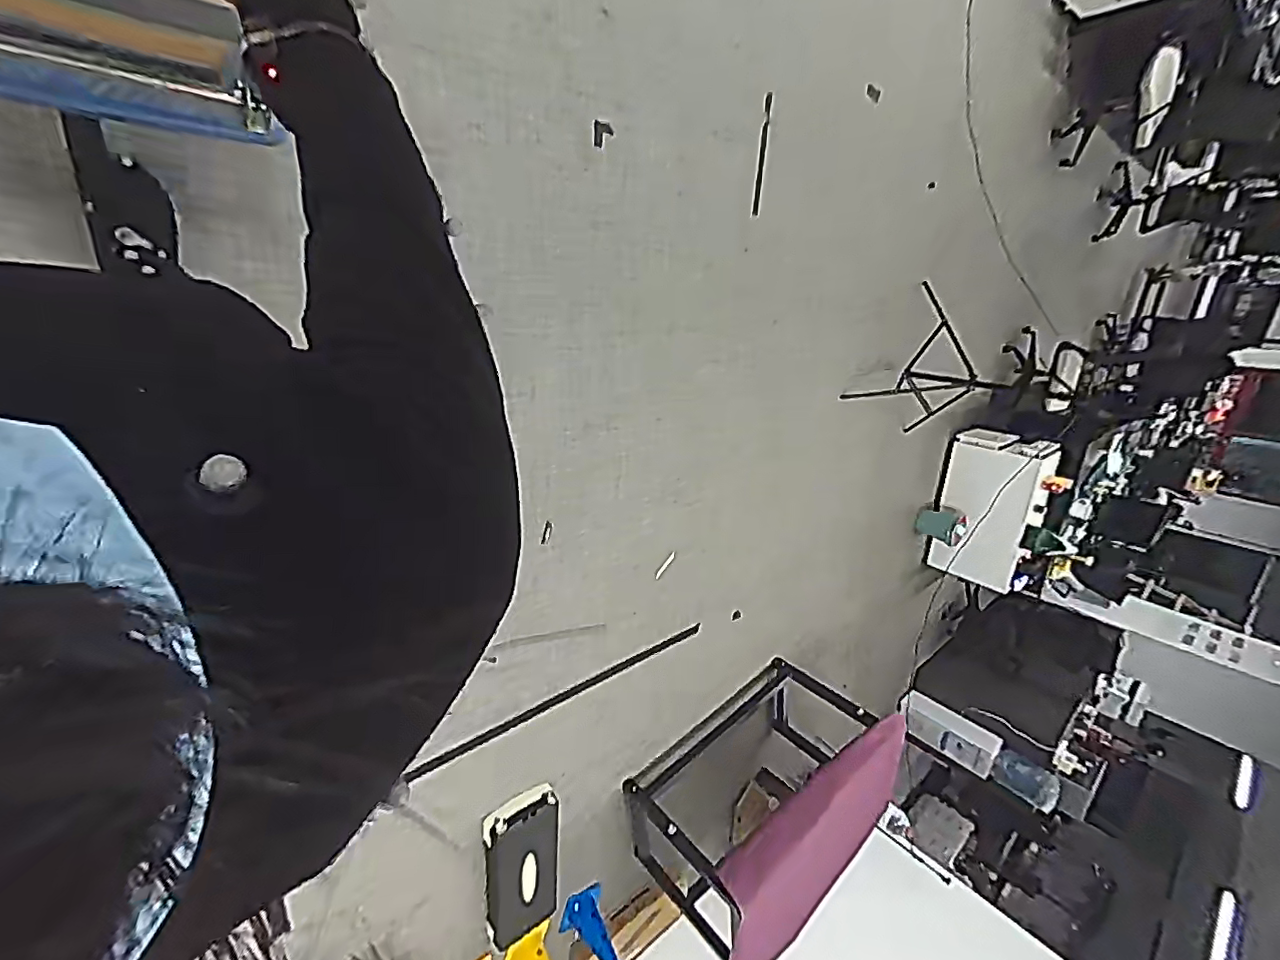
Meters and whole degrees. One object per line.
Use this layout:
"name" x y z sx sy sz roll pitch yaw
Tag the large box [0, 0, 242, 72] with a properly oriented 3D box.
"large box" -0.753 -0.752 0.630 0.408 0.320 0.320 -12 114 -40
